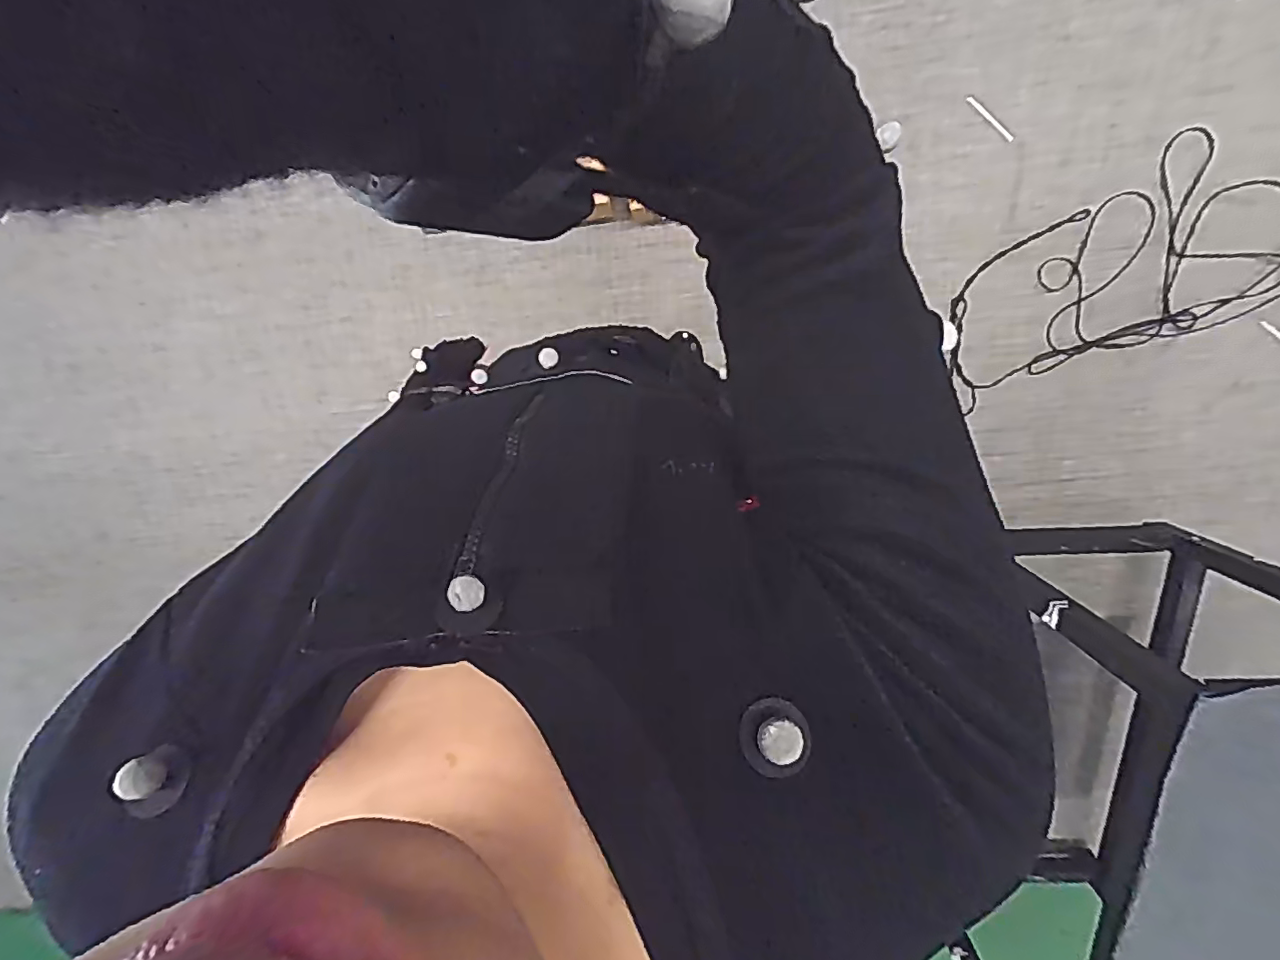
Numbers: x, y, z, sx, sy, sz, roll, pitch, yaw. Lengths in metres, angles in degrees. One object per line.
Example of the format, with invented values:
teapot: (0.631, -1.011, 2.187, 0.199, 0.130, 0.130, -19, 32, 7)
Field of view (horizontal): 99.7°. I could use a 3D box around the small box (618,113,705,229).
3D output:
small box: (0.049, -0.683, 1.214, 0.168, 0.176, 0.179, -8, 106, 6)
